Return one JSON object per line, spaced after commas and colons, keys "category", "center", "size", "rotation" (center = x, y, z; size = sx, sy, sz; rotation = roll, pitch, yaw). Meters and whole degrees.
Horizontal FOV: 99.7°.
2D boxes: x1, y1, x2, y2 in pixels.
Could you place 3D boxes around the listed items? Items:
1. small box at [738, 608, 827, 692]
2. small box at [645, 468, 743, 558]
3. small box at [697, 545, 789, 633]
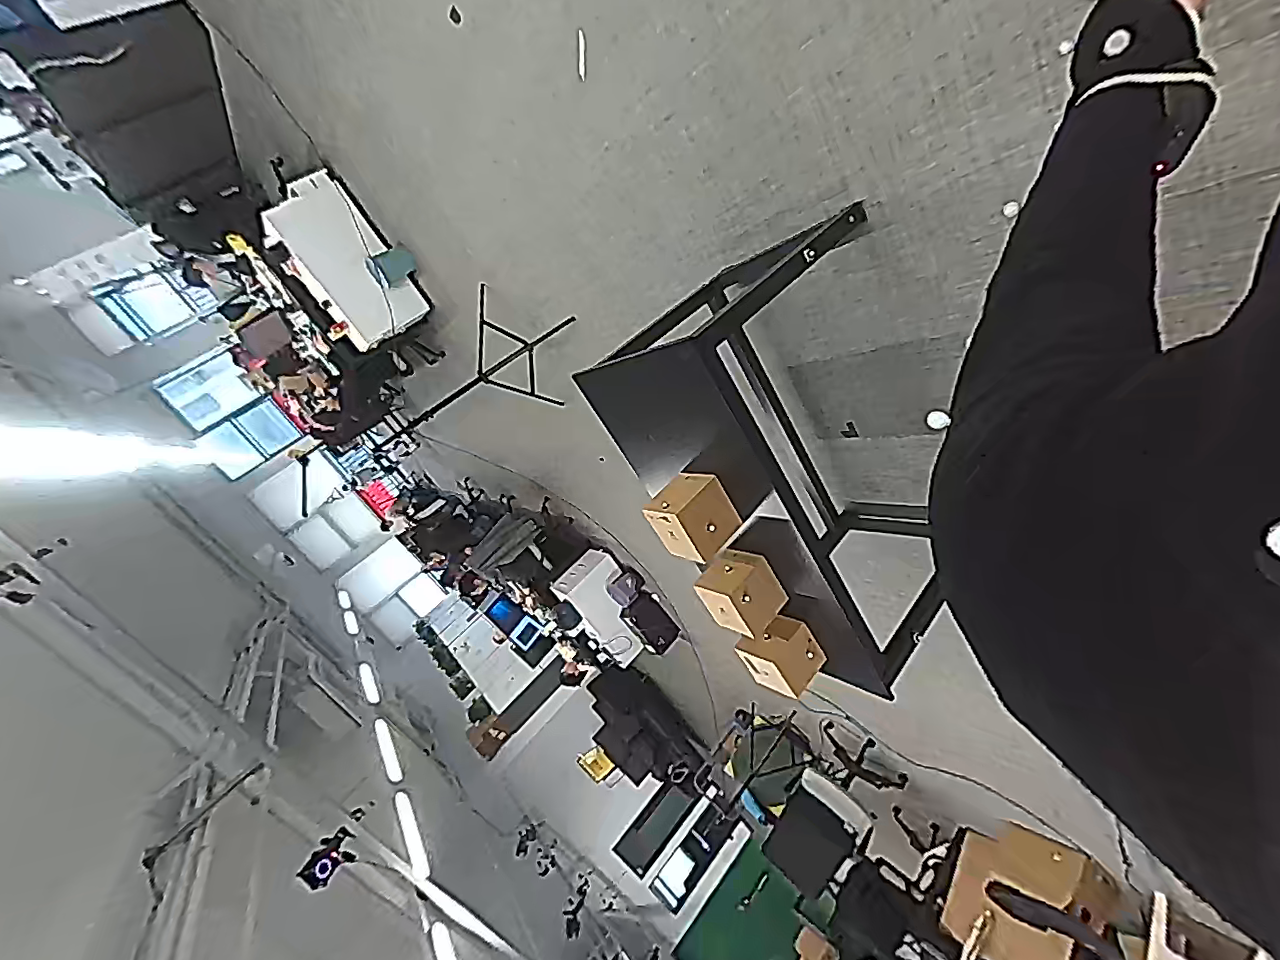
{"category": "small box", "center": [0.449, 0.523, 1.698], "size": [0.168, 0.176, 0.179], "rotation": [55, 155, -19]}
{"category": "small box", "center": [0.155, 0.087, 1.507], "size": [0.168, 0.176, 0.179], "rotation": [6, 135, 58]}
{"category": "small box", "center": [0.308, 0.316, 1.607], "size": [0.179, 0.176, 0.168], "rotation": [56, 156, -20]}
